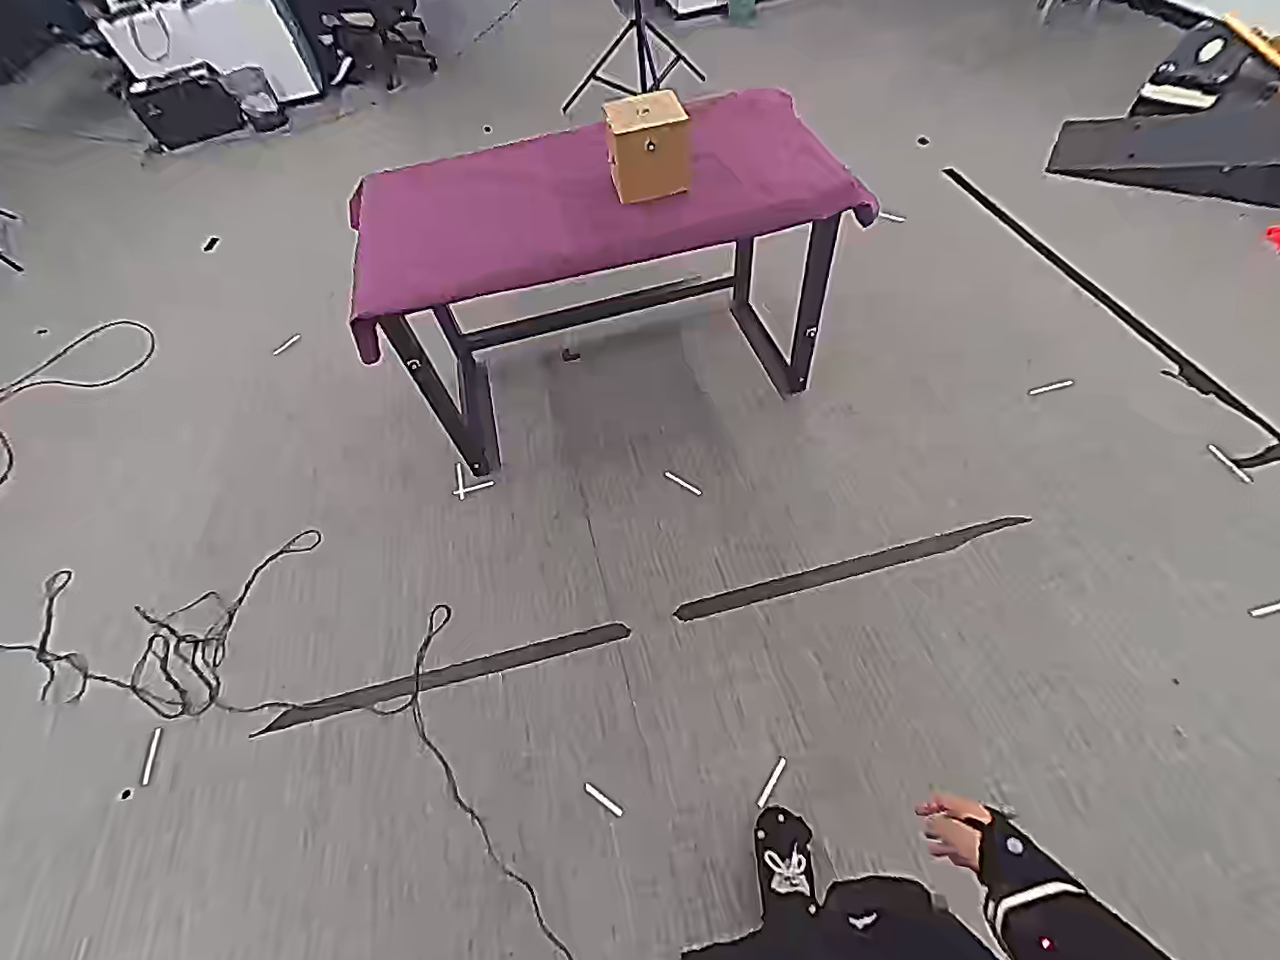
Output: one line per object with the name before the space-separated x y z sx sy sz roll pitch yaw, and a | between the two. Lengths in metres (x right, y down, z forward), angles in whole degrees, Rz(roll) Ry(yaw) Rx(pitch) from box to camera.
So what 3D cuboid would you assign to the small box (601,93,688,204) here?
small box | 0.014 -0.806 1.323 0.179 0.176 0.168 -13 57 -2
